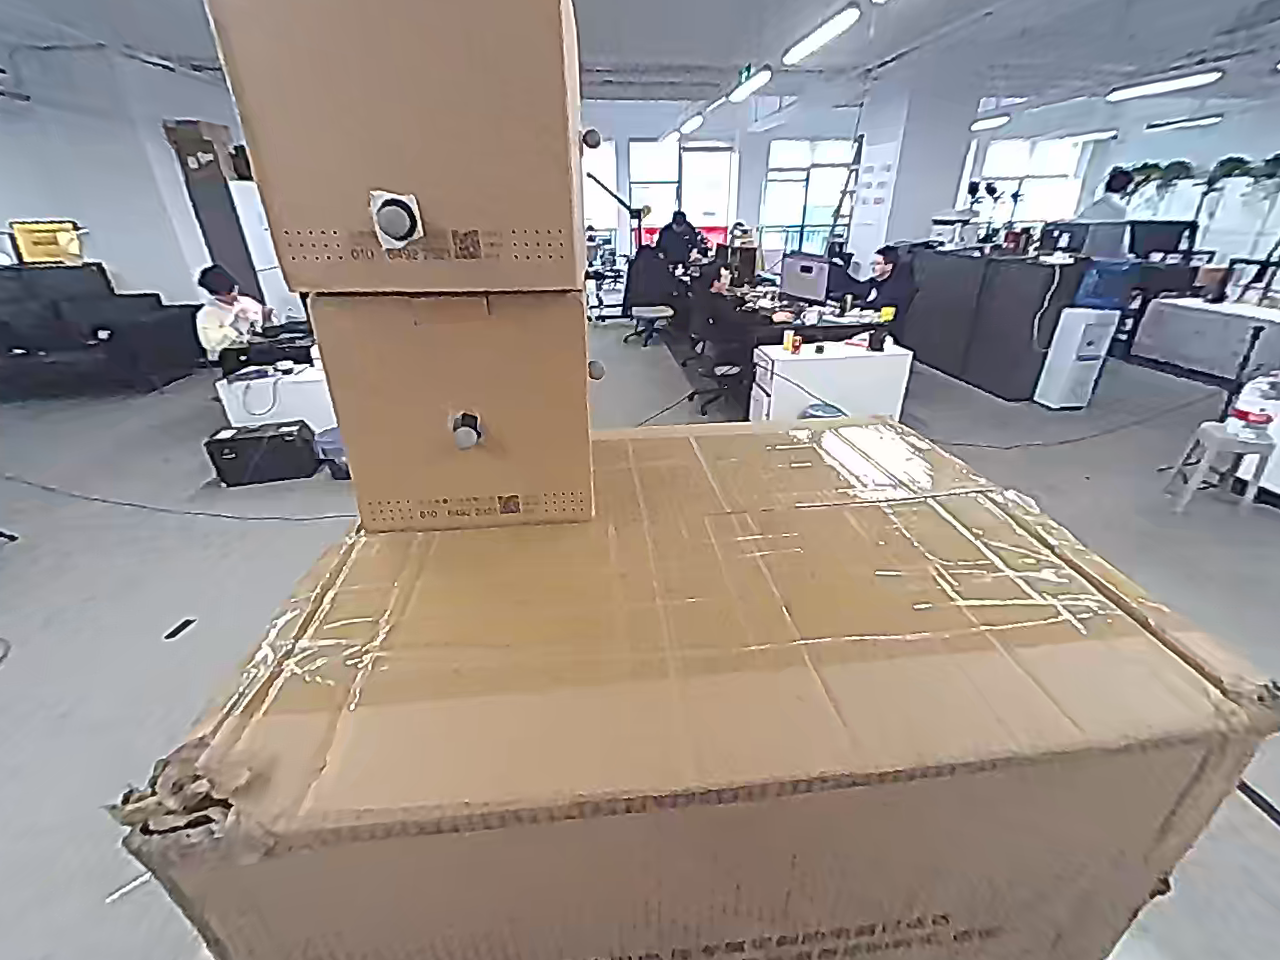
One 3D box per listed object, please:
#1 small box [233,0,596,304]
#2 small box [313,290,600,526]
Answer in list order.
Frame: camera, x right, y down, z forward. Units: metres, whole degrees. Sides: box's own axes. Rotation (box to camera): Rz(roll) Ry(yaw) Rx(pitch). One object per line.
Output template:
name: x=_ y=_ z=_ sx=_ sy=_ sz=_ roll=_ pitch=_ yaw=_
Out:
small box: x=-0.117 y=-0.212 z=0.346 sx=0.168 sy=0.176 sz=0.179 roll=-3 pitch=27 yaw=-3
small box: x=-0.120 y=-0.072 z=0.433 sx=0.168 sy=0.176 sz=0.179 roll=-3 pitch=27 yaw=-5
